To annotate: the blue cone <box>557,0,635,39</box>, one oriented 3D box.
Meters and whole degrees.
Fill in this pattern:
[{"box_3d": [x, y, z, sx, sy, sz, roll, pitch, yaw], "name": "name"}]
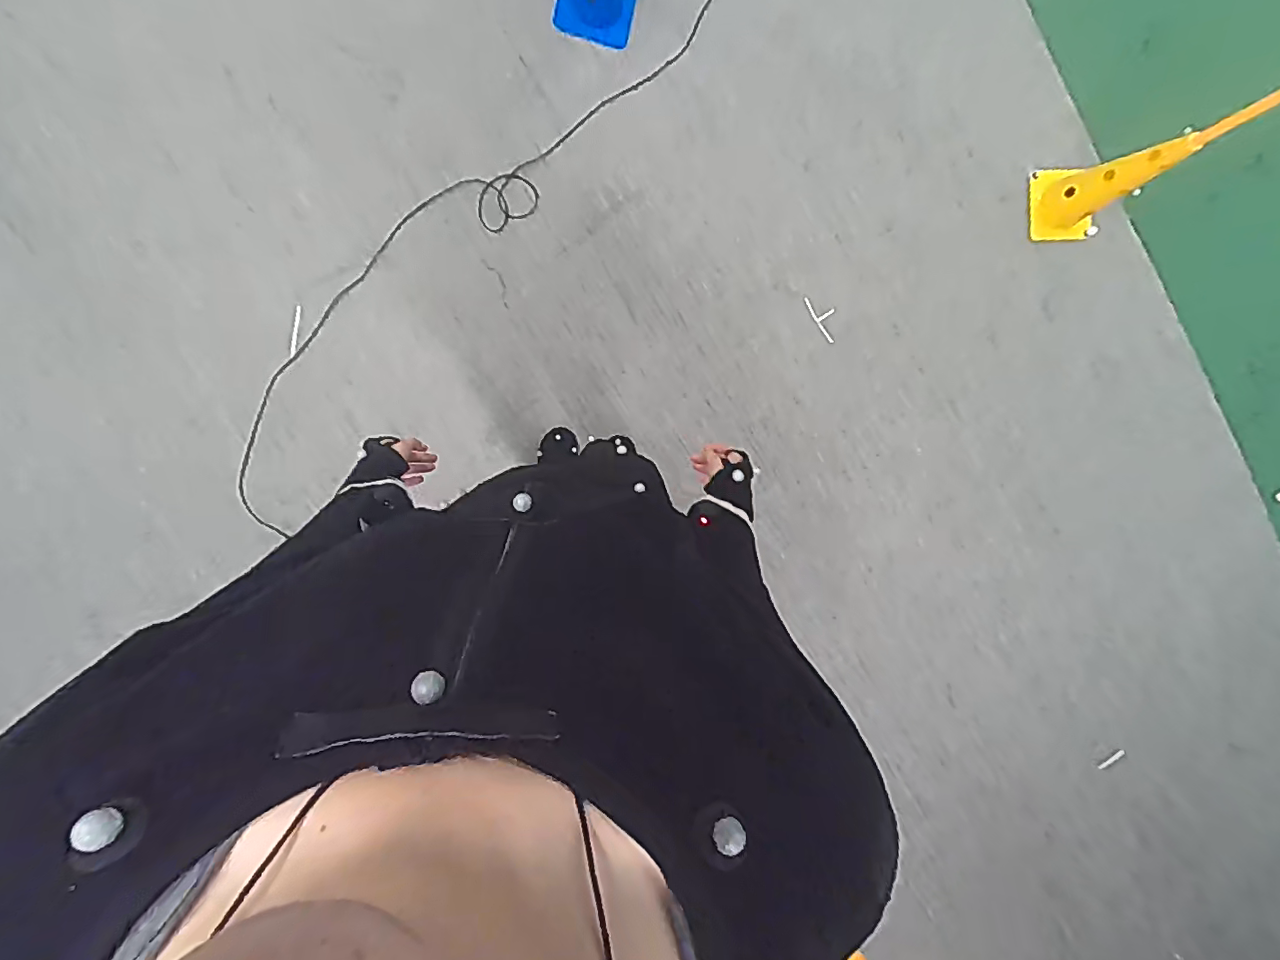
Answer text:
[{"box_3d": [-0.096, -1.226, 1.221, 0.193, 0.380, 0.192, 12, 94, -6], "name": "blue cone"}]
